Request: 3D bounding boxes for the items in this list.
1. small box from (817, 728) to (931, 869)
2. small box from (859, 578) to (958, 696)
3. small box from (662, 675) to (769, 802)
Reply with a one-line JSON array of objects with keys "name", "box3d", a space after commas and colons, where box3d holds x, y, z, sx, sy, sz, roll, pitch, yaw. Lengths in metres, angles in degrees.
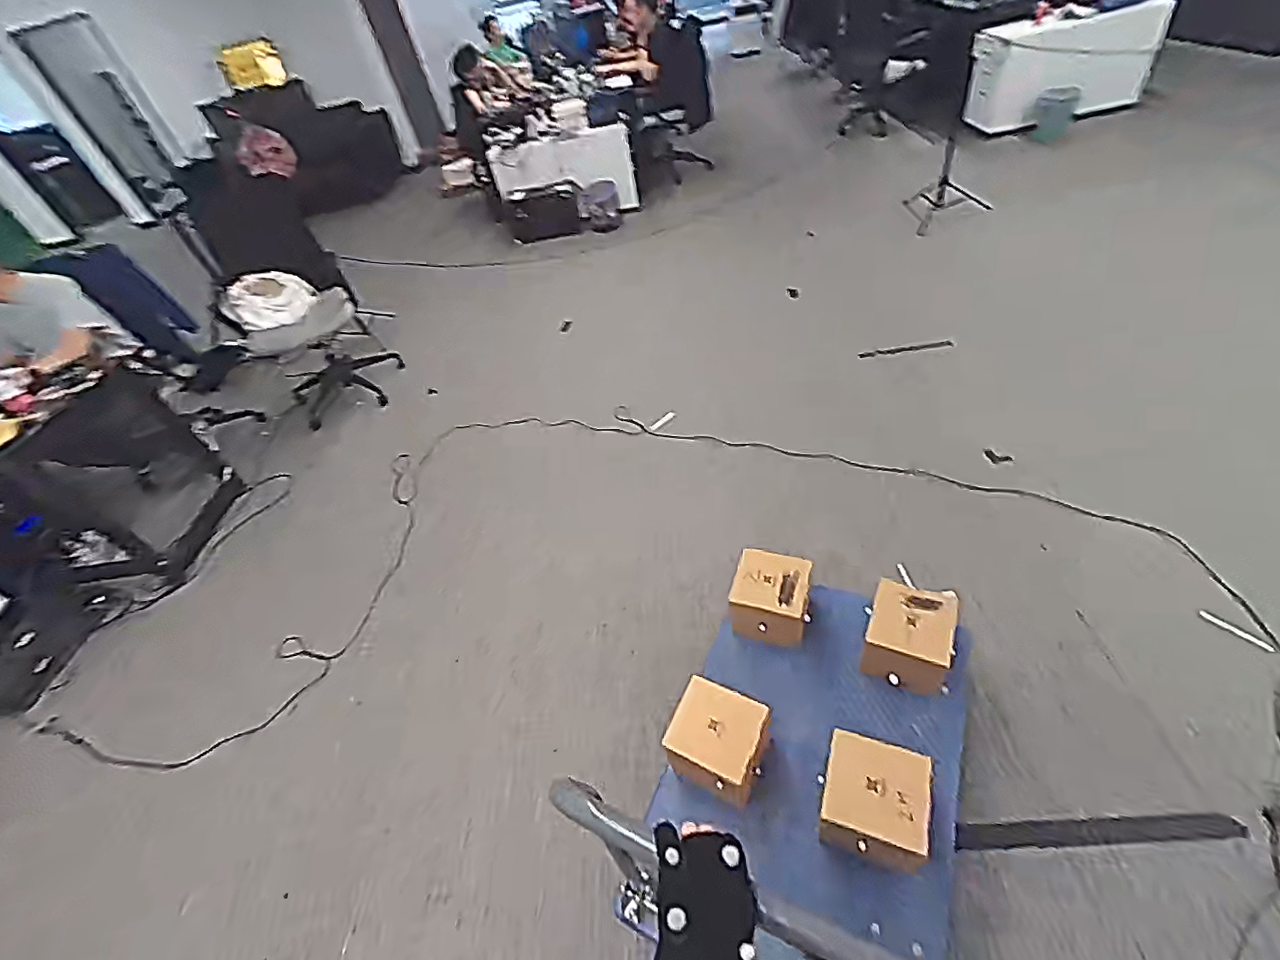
[{"name": "small box", "box3d": [0.445, 0.616, 1.043, 0.179, 0.176, 0.168, 10, 50, 23]}, {"name": "small box", "box3d": [0.615, 0.363, 1.250, 0.168, 0.176, 0.179, 14, 52, 26]}, {"name": "small box", "box3d": [0.167, 0.561, 1.170, 0.179, 0.176, 0.168, 16, 51, 25]}]
